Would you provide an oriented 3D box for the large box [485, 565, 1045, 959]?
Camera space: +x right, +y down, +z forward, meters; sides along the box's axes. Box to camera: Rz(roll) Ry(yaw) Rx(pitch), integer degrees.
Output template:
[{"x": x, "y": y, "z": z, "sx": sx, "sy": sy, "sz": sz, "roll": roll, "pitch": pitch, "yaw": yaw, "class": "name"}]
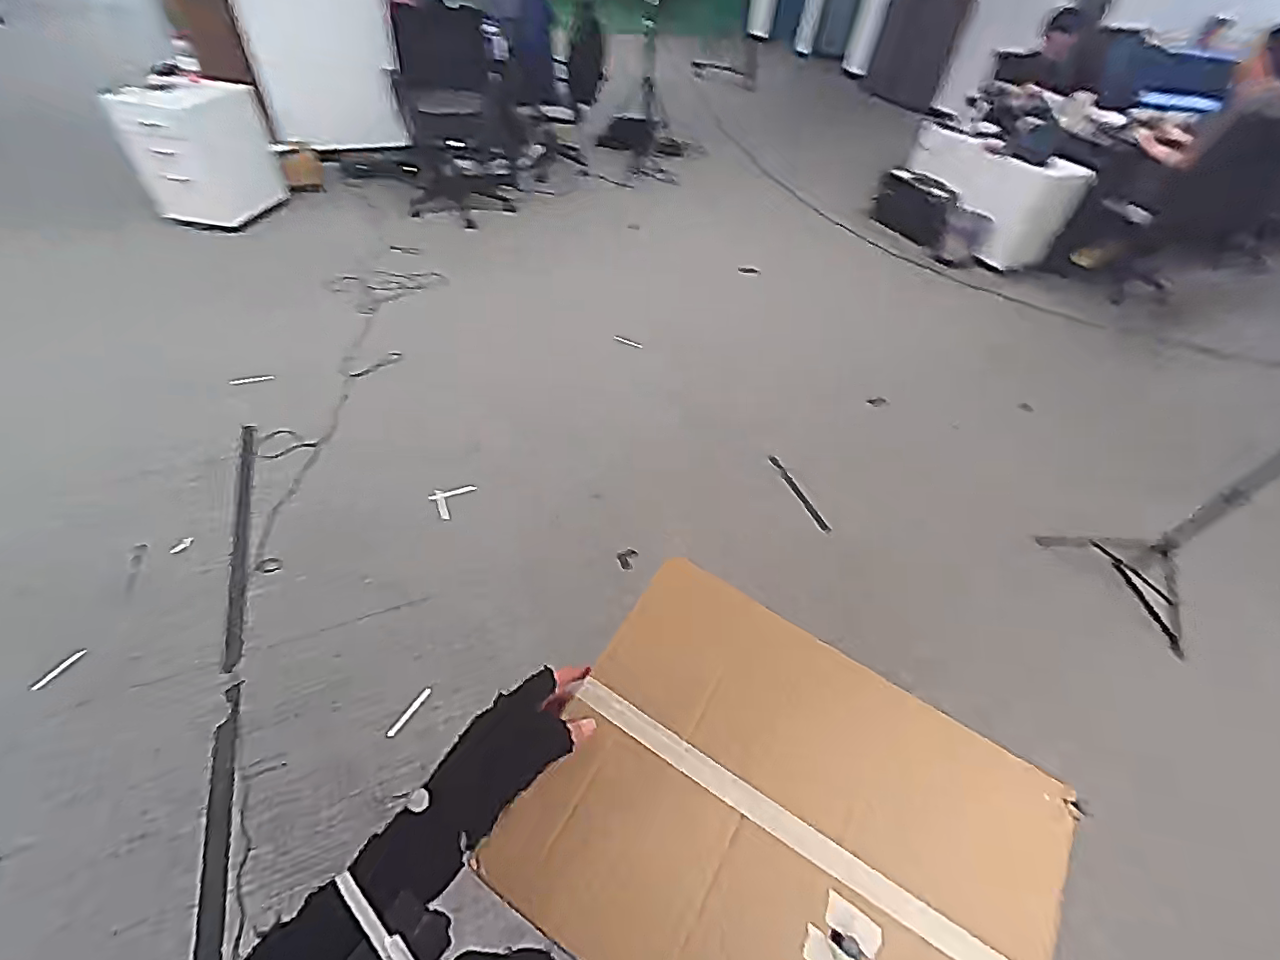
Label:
[{"x": 0.109, "y": 0.363, "z": 0.585, "sx": 0.408, "sy": 0.320, "sz": 0.320, "roll": 29, "pitch": 62, "yaw": 13, "class": "large box"}]
